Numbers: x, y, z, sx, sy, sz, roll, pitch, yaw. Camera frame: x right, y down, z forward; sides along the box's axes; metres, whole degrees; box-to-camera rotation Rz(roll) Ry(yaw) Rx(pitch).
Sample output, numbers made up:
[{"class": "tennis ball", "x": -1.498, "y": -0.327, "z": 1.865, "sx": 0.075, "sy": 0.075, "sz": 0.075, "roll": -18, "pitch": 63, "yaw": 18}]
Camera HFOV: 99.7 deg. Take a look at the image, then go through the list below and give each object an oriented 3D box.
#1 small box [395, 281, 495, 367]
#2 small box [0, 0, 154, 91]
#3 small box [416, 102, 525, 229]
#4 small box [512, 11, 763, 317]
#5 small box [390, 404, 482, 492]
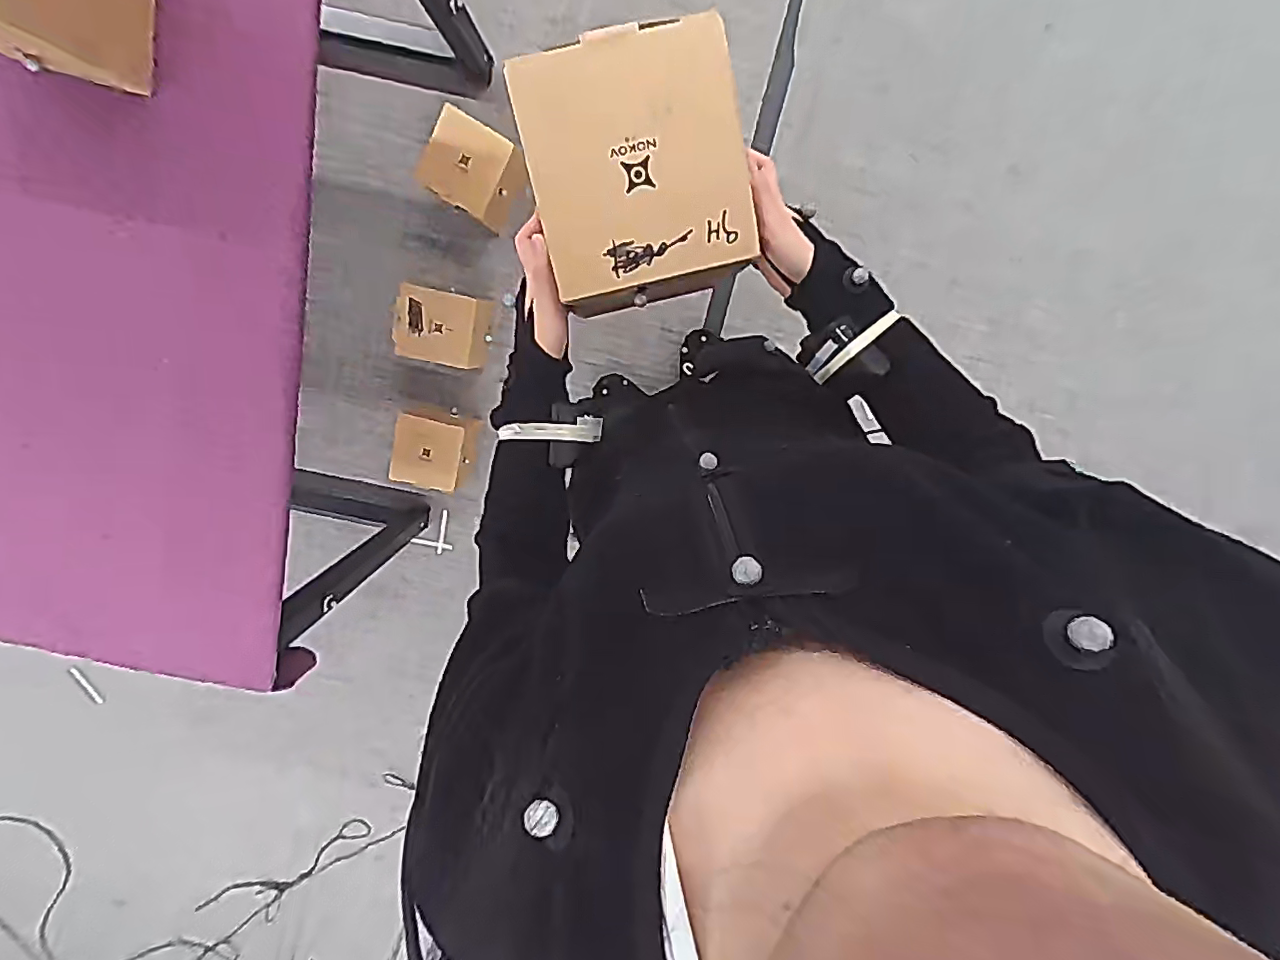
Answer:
[{"class": "small box", "x": -0.476, "y": -0.380, "z": 1.335, "sx": 0.179, "sy": 0.176, "sz": 0.168, "roll": 12, "pitch": 105, "yaw": -4}, {"class": "small box", "x": -0.638, "y": -0.540, "z": 0.541, "sx": 0.168, "sy": 0.176, "sz": 0.179, "roll": 15, "pitch": 105, "yaw": -3}, {"class": "small box", "x": -0.381, "y": -0.713, "z": 1.250, "sx": 0.168, "sy": 0.176, "sz": 0.179, "roll": 29, "pitch": 104, "yaw": -8}, {"class": "small box", "x": -0.002, "y": -0.258, "z": 0.487, "sx": 0.168, "sy": 0.176, "sz": 0.179, "roll": -12, "pitch": 102, "yaw": 1}, {"class": "small box", "x": -0.526, "y": -0.089, "z": 1.413, "sx": 0.168, "sy": 0.176, "sz": 0.179, "roll": 15, "pitch": 103, "yaw": -4}]
